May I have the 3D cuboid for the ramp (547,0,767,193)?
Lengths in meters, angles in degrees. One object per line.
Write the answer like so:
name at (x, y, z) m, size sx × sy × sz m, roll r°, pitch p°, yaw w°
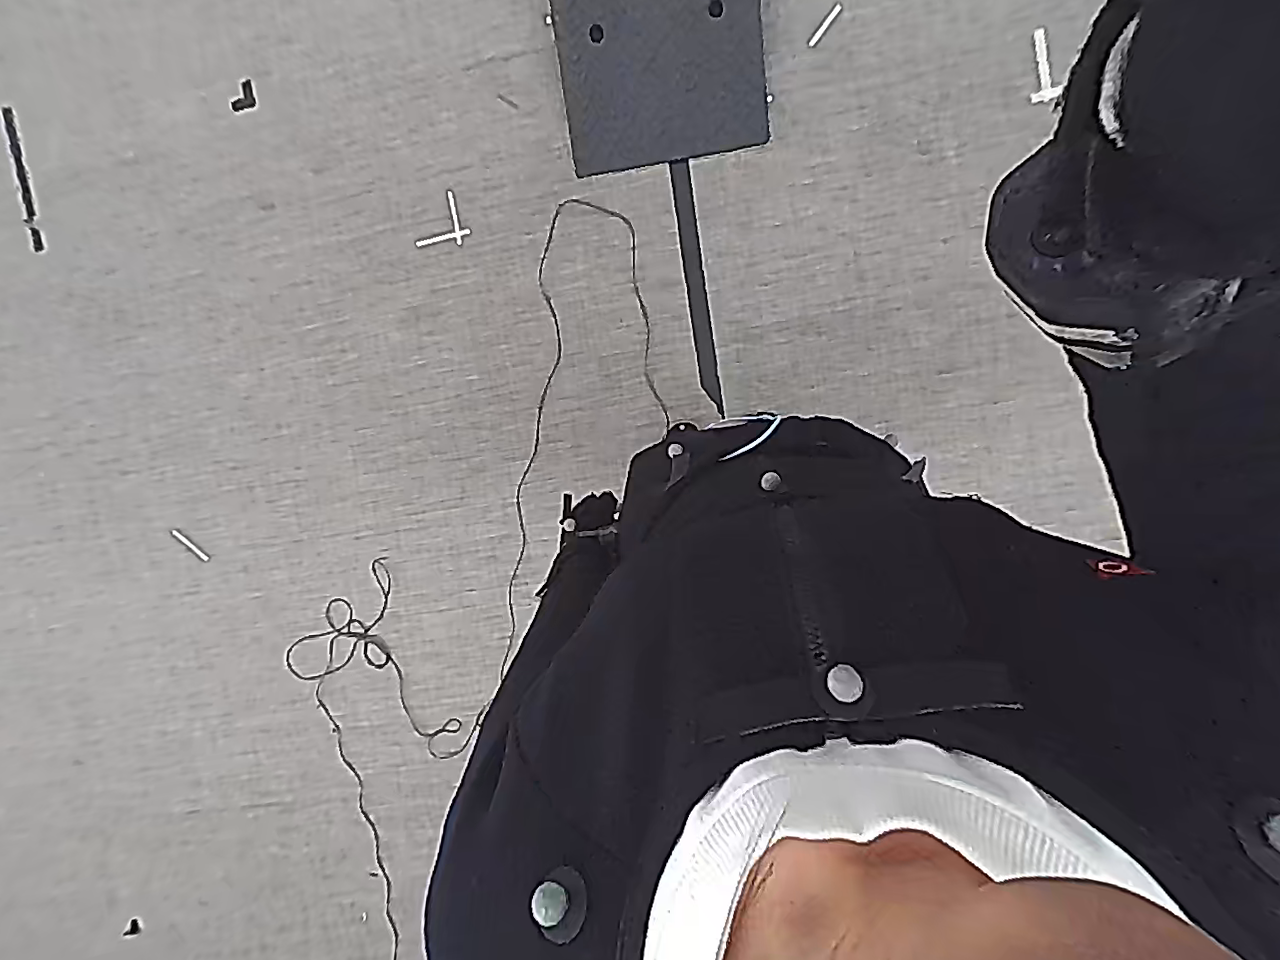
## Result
ramp at (0.004, -1.259, 1.266) m, size 0.509 × 0.206 × 0.991 m, roll -10°, pitch 95°, yaw 7°
